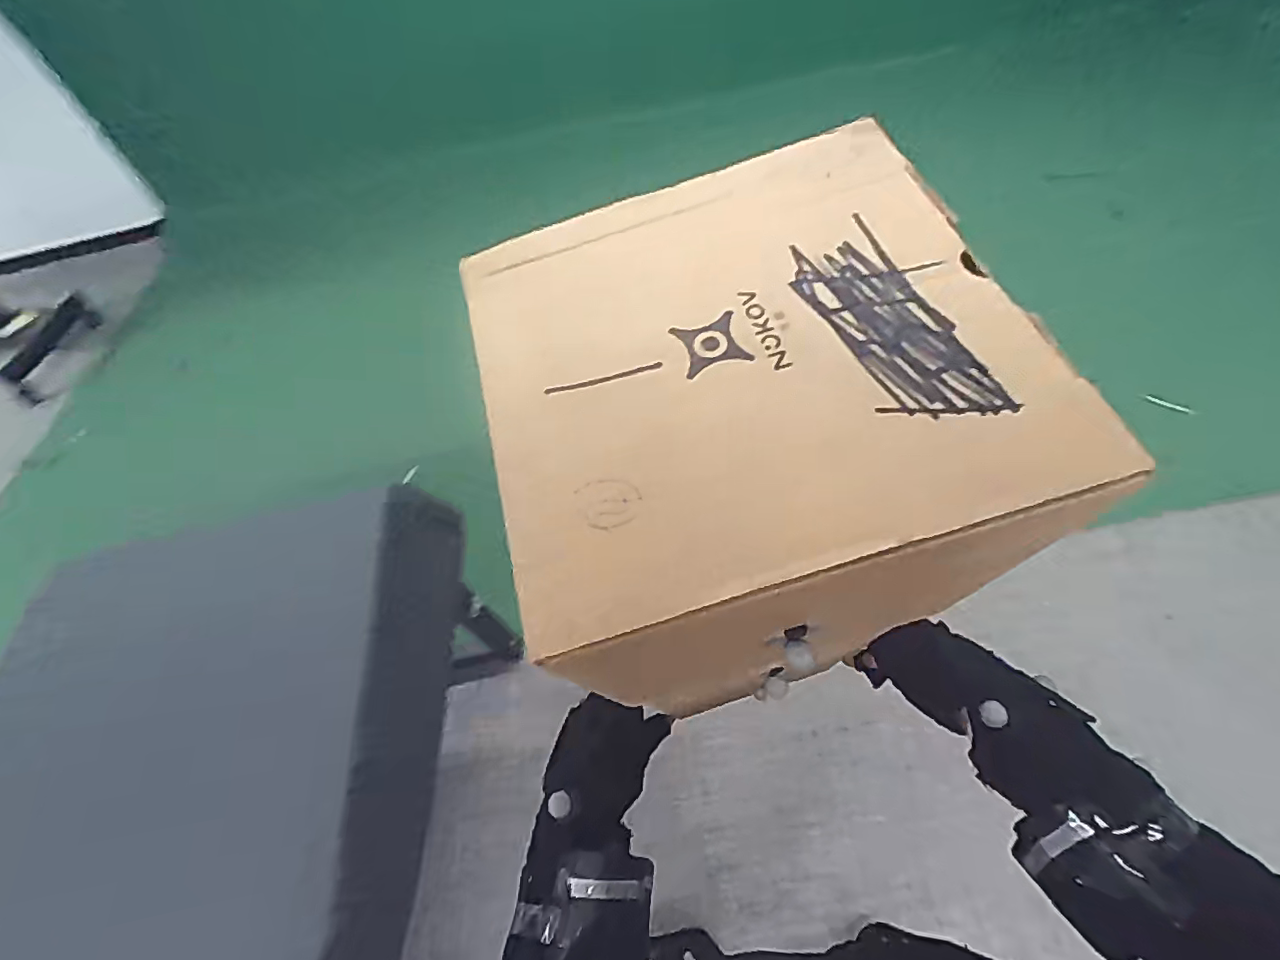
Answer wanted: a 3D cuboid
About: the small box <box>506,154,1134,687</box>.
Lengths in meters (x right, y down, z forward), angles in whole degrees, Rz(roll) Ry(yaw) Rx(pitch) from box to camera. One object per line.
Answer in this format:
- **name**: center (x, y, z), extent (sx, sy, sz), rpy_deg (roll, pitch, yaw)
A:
- **small box**: center (0.055, -0.009, 0.264), extent (0.179, 0.176, 0.168), rpy_deg (-17, 62, 2)
